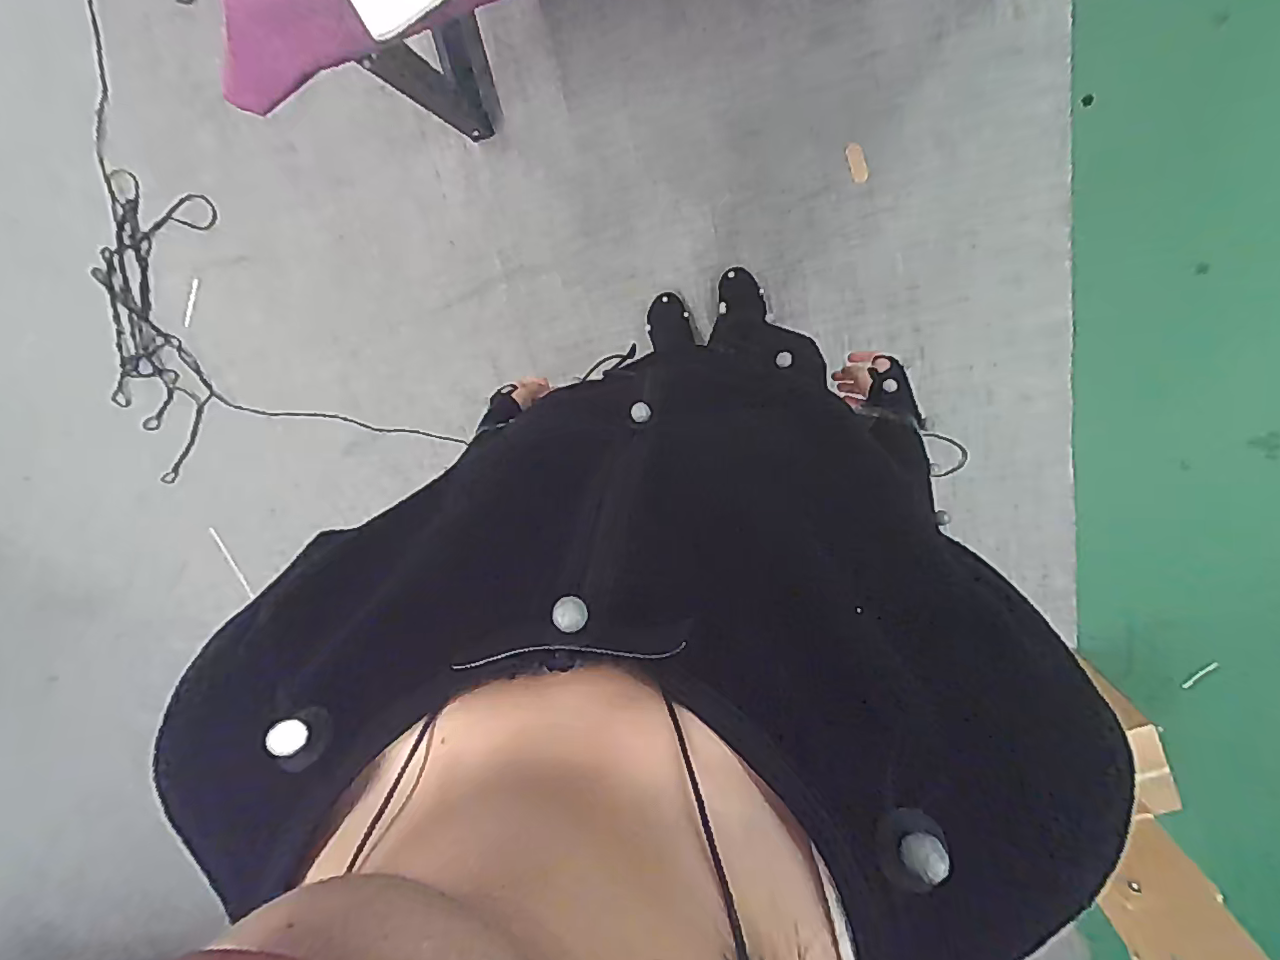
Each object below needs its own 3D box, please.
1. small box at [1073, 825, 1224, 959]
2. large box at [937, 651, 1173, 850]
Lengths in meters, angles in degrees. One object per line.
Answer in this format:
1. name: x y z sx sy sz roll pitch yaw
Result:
1. small box: 1.105 0.896 1.184 0.179 0.176 0.168 -19 106 12
2. large box: 1.172 0.770 1.568 0.408 0.320 0.320 -27 106 11
